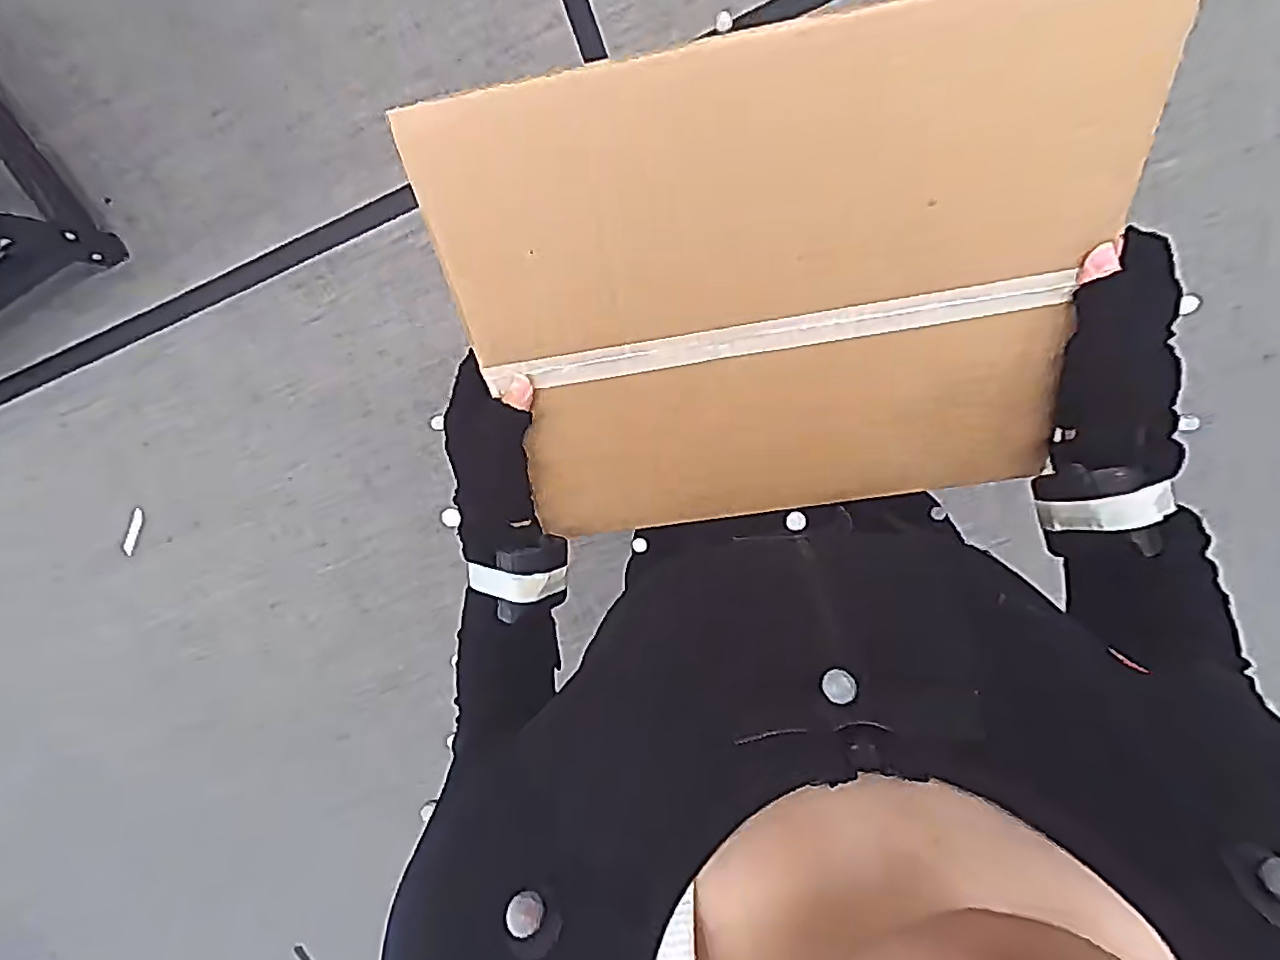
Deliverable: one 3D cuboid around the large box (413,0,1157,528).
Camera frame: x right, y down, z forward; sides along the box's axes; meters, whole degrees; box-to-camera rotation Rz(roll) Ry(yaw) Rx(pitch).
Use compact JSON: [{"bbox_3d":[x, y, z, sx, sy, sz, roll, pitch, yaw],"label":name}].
[{"bbox_3d":[0.089,-0.195,0.492,0.408,0.320,0.320,-8,127,6],"label":"large box"}]
